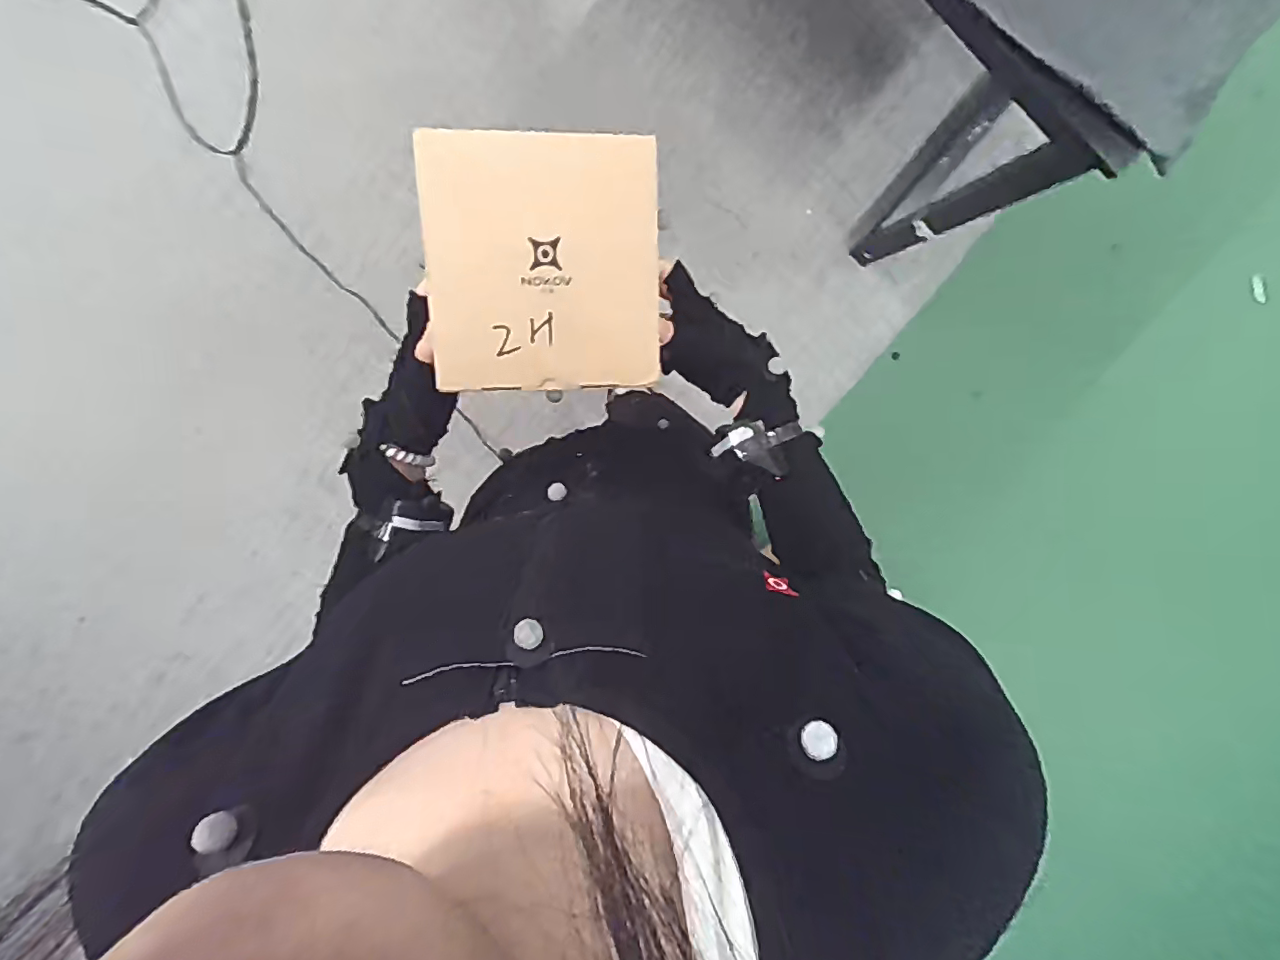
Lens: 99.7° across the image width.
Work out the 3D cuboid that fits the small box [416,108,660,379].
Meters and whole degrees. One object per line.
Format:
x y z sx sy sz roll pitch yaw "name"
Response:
-0.077 -0.176 0.457 0.168 0.176 0.179 -2 102 -6 "small box"
